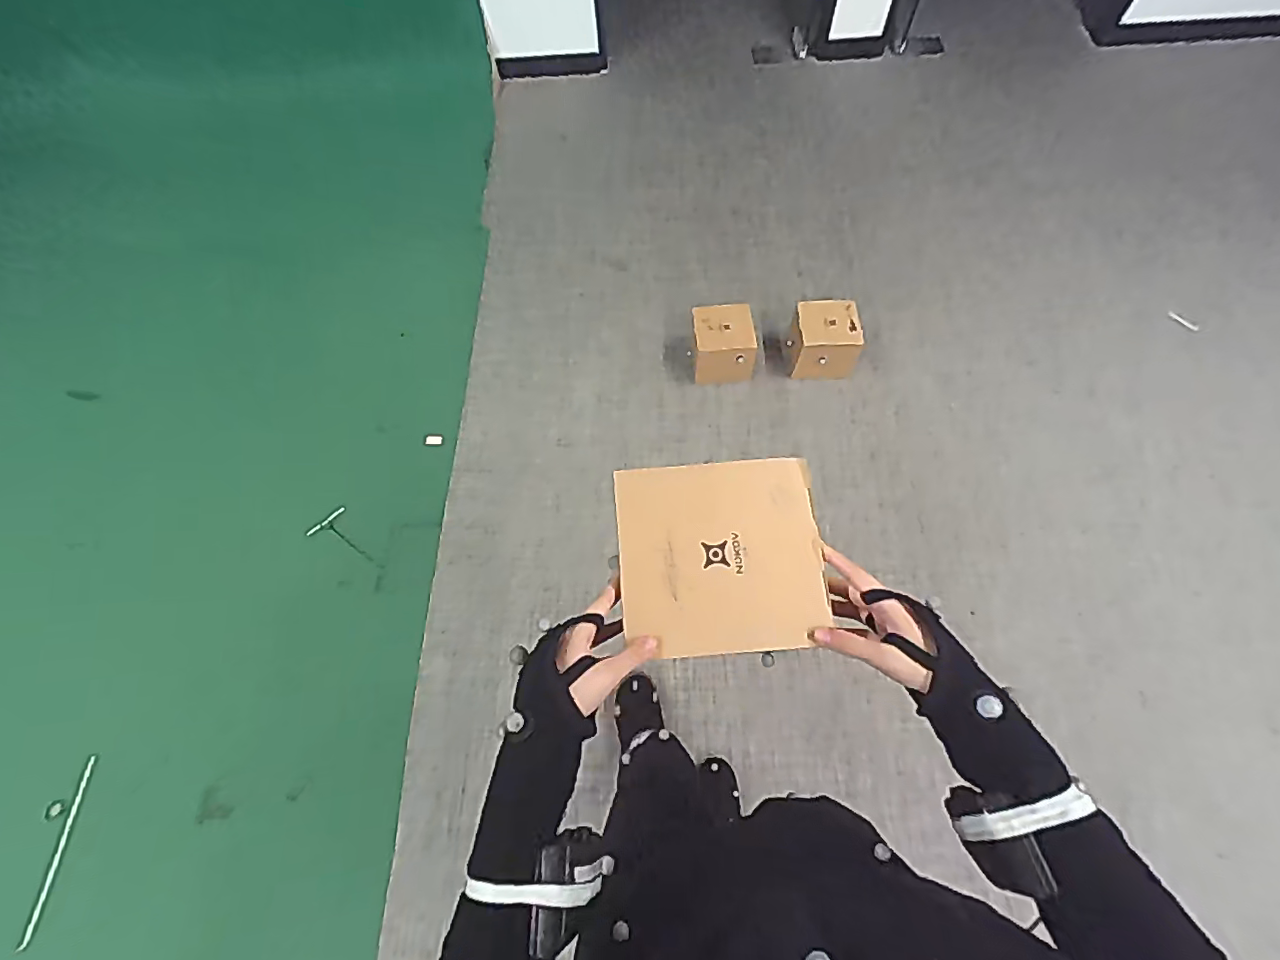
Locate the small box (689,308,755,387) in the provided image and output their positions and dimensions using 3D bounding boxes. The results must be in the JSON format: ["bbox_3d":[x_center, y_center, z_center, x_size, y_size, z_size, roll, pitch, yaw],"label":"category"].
[{"bbox_3d":[0.248,-0.407,1.677,0.179,0.176,0.168,-5,65,1],"label":"small box"}]

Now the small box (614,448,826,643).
[{"bbox_3d":[0.068,0.076,0.555,0.179,0.176,0.168,-5,72,1],"label":"small box"}]
